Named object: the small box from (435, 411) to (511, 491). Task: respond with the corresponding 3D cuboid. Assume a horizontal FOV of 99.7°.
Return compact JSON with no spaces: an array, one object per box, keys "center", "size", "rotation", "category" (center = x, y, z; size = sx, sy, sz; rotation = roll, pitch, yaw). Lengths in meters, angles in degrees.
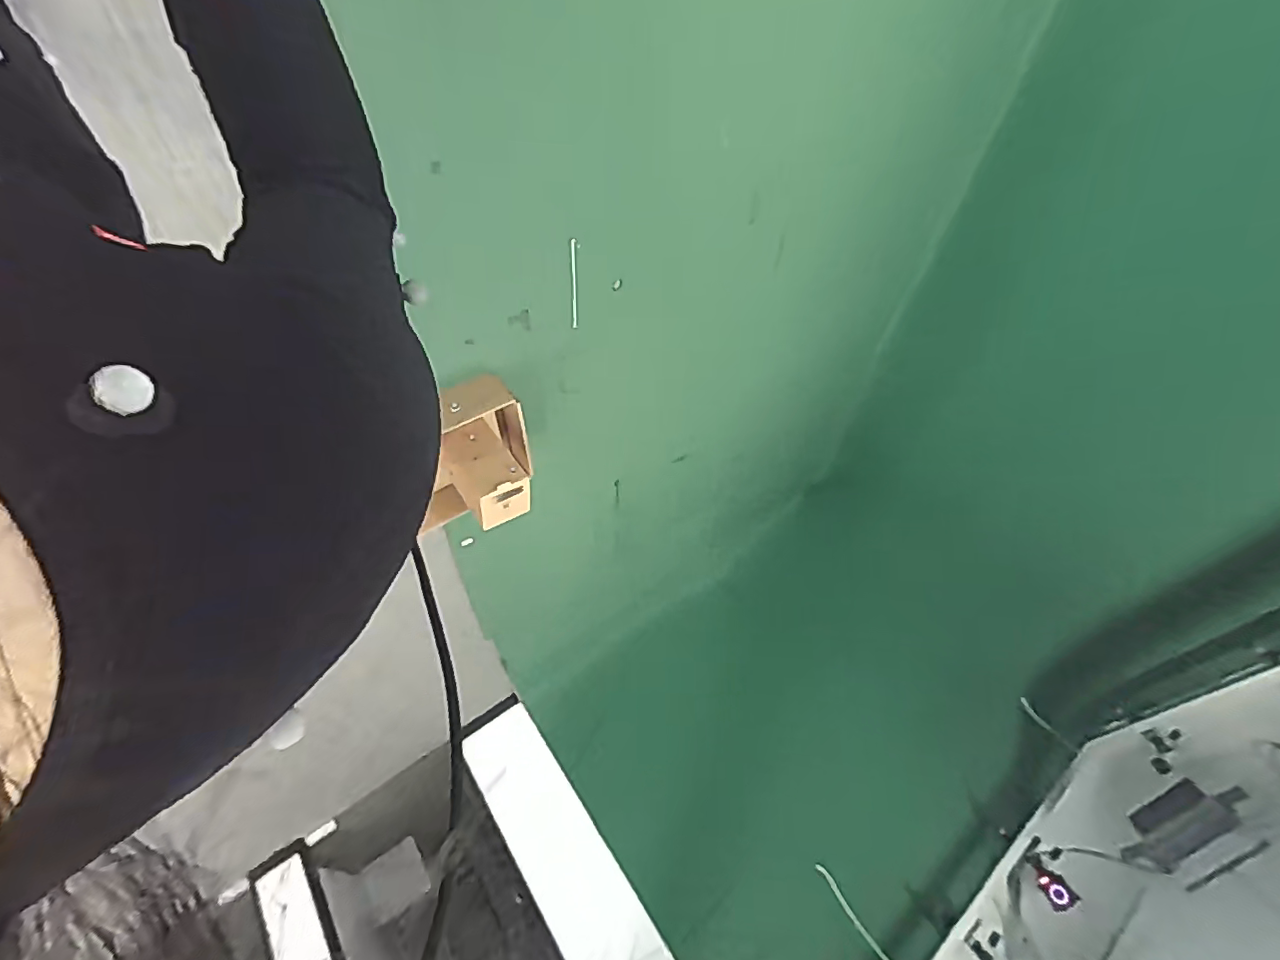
[{"center":[-0.553,-0.102,1.800],"size":[0.179,0.176,0.168],"rotation":[-28,149,-23],"category":"small box"}]
